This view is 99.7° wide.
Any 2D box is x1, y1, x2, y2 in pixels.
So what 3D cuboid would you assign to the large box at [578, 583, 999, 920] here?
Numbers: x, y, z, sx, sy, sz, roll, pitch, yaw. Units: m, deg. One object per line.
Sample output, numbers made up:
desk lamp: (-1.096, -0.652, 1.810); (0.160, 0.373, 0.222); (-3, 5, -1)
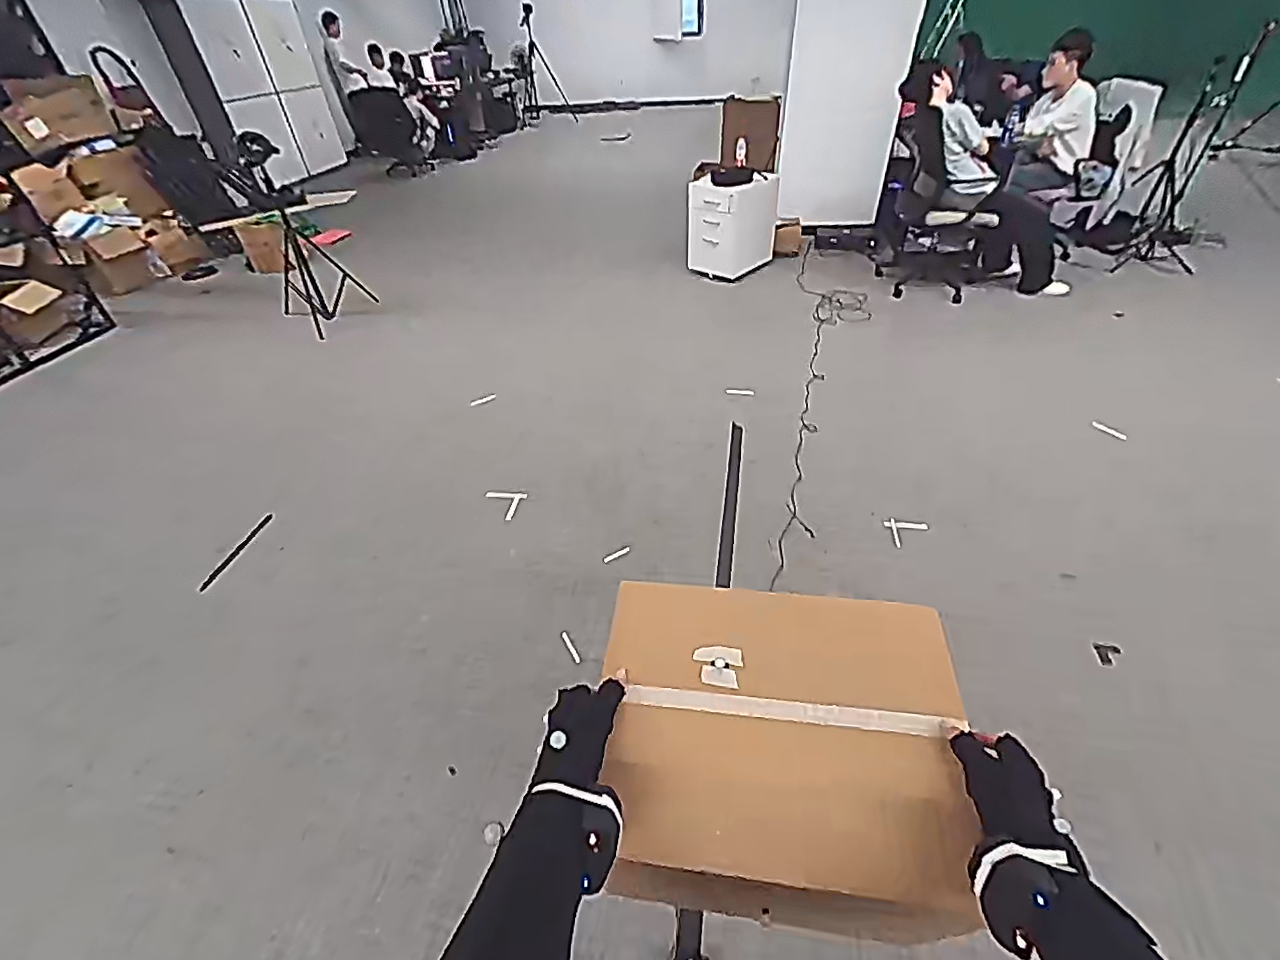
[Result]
large box: (0.164, 0.360, 0.725); (0.408, 0.320, 0.320); (2, 46, 9)
